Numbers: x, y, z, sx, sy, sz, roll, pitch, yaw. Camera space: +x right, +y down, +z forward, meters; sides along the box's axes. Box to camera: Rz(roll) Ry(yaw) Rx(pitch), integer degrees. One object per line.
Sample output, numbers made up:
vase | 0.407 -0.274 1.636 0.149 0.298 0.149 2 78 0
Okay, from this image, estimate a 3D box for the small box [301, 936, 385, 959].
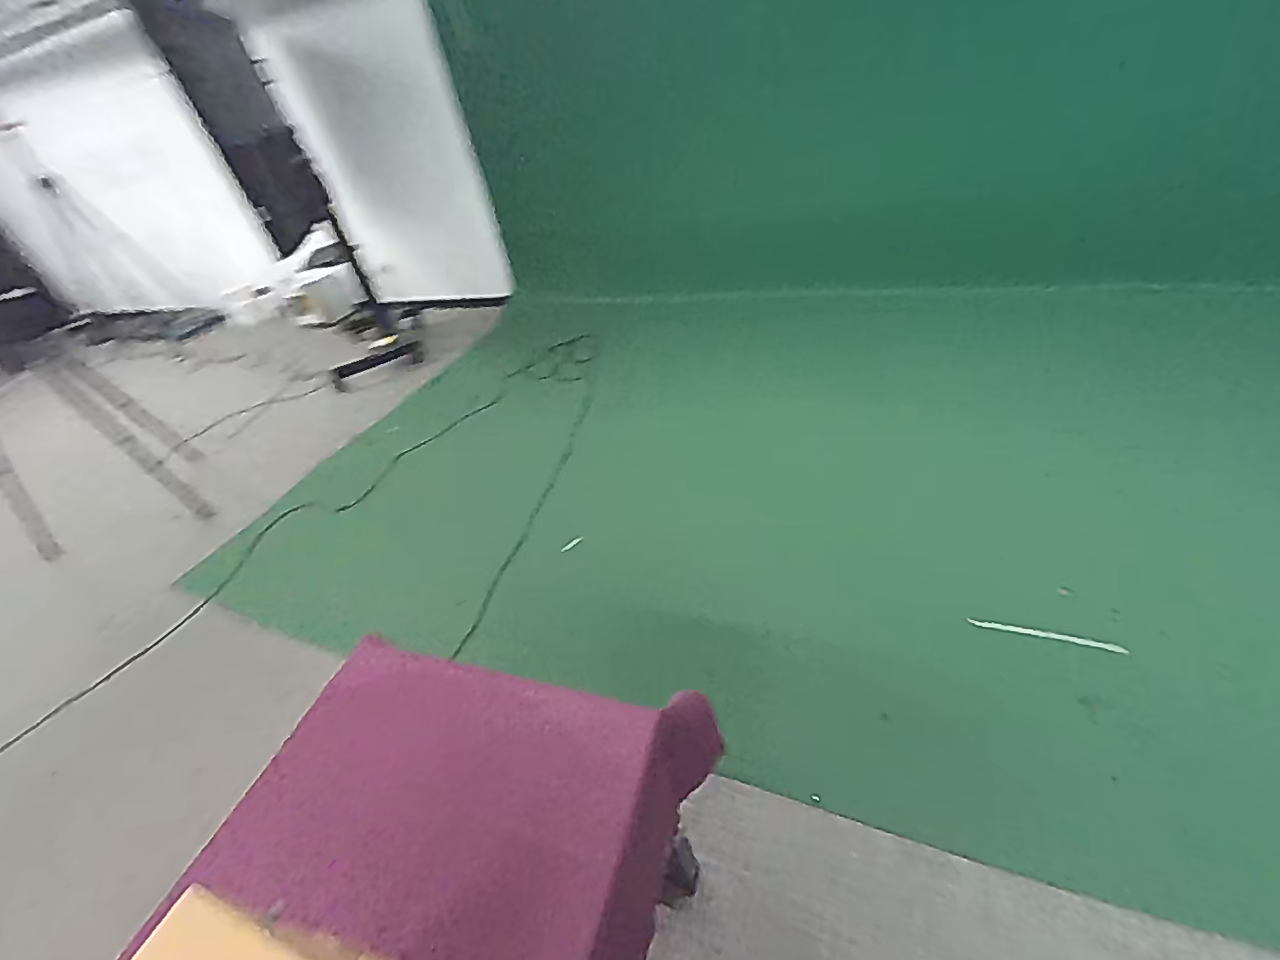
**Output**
small box | -0.267 0.583 0.505 0.168 0.176 0.179 7 43 23
